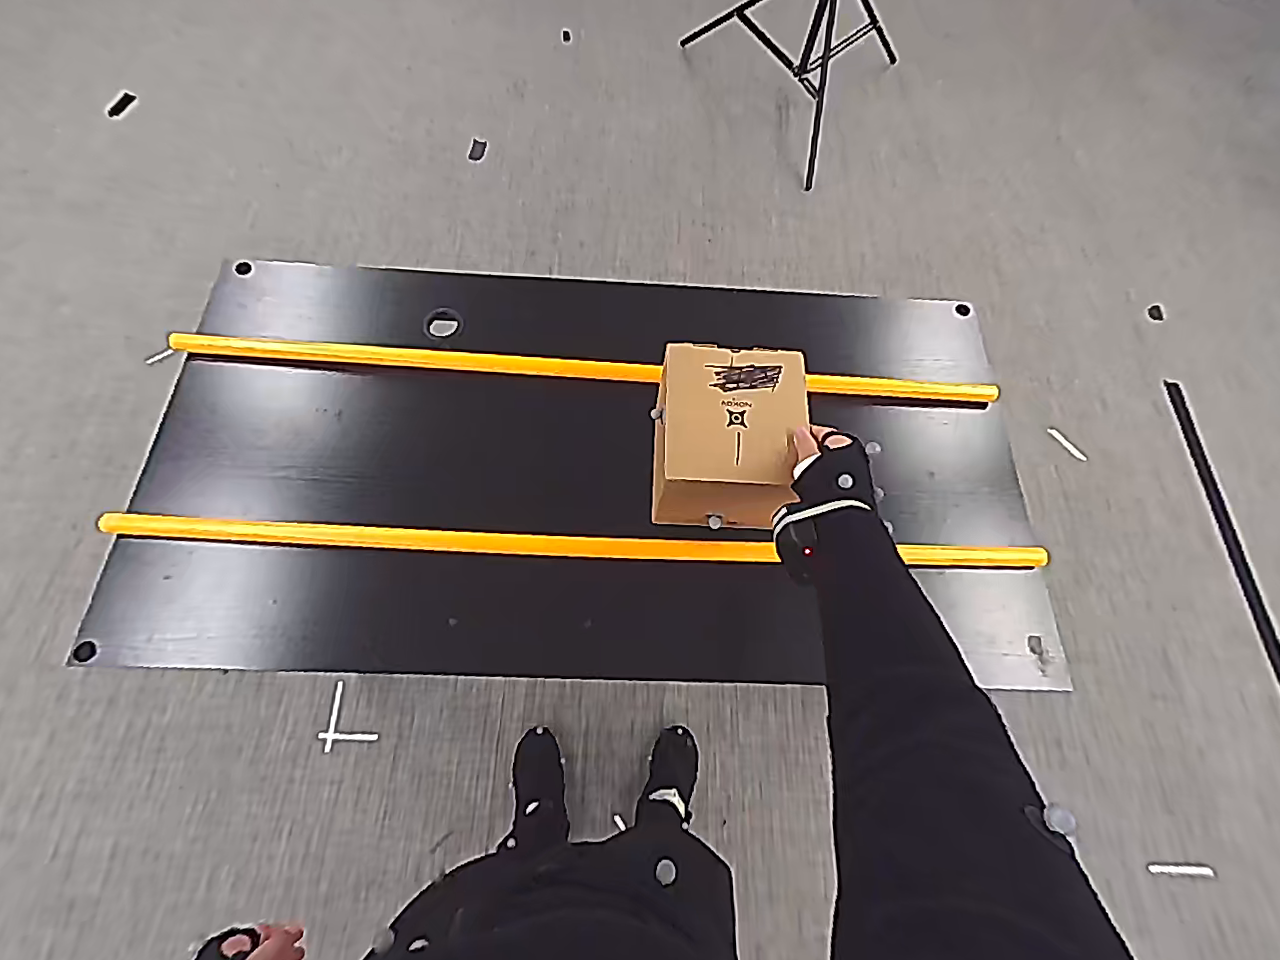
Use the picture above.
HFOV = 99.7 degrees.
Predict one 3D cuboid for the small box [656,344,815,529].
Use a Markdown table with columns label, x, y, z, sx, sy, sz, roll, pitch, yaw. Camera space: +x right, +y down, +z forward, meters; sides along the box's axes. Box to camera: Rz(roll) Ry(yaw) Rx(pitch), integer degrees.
| label | x | y | z | sx | sy | sz | roll | pitch | yaw |
| --- | --- | --- | --- | --- | --- | --- | --- | --- | --- |
| small box | 0.110 | -0.049 | 0.691 | 0.168 | 0.176 | 0.179 | 3 | 69 | -1 |
